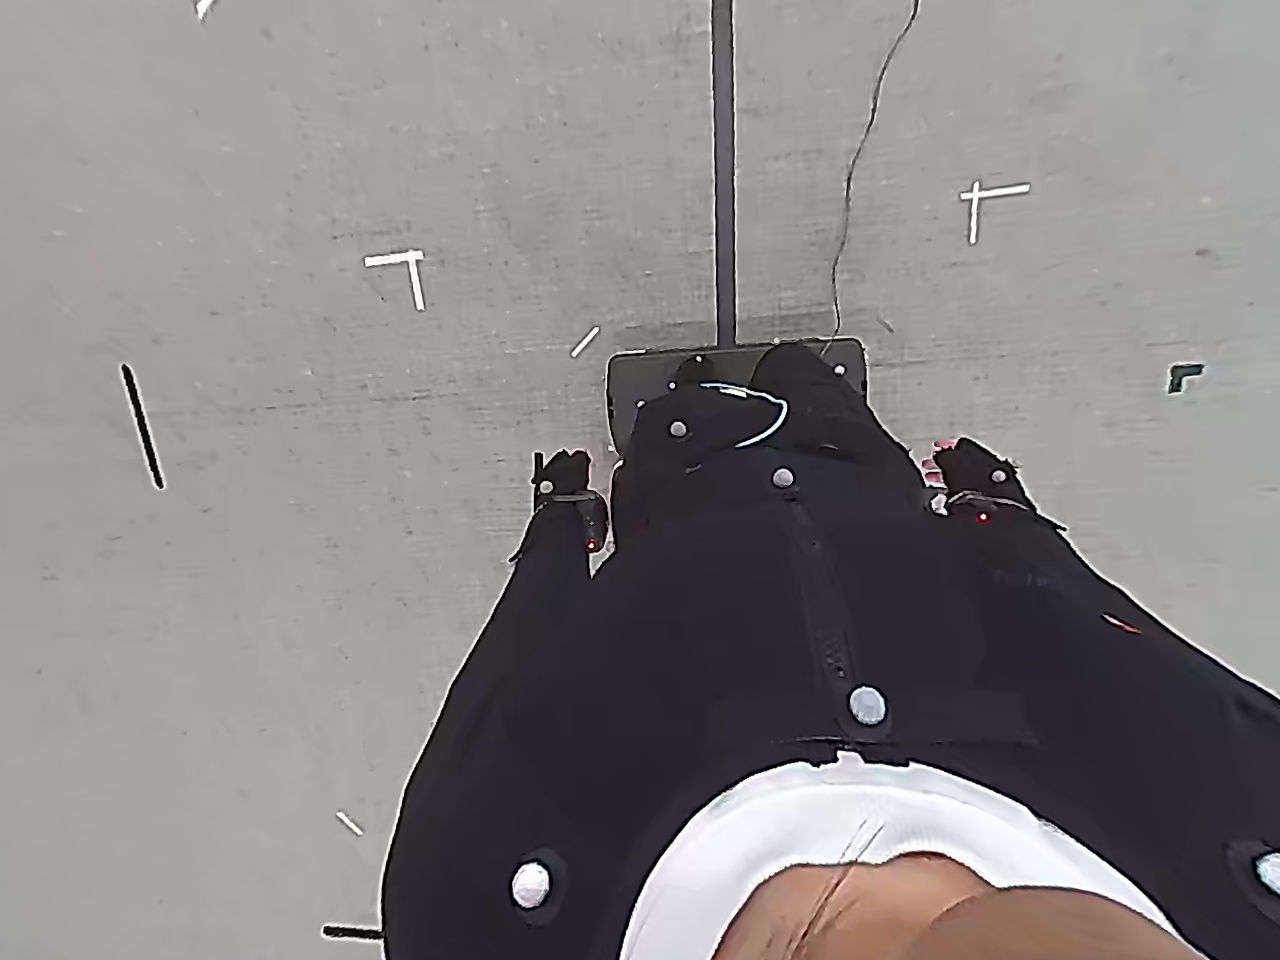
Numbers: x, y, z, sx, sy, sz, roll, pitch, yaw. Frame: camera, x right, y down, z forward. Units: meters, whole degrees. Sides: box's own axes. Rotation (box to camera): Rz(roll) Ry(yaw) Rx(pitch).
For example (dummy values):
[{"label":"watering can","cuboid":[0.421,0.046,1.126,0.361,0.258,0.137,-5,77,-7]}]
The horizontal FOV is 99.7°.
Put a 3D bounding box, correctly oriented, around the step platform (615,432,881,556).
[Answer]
[{"label":"step platform","cuboid":[0.275,0.040,1.450,0.684,0.204,0.286,-3,102,9]}]
